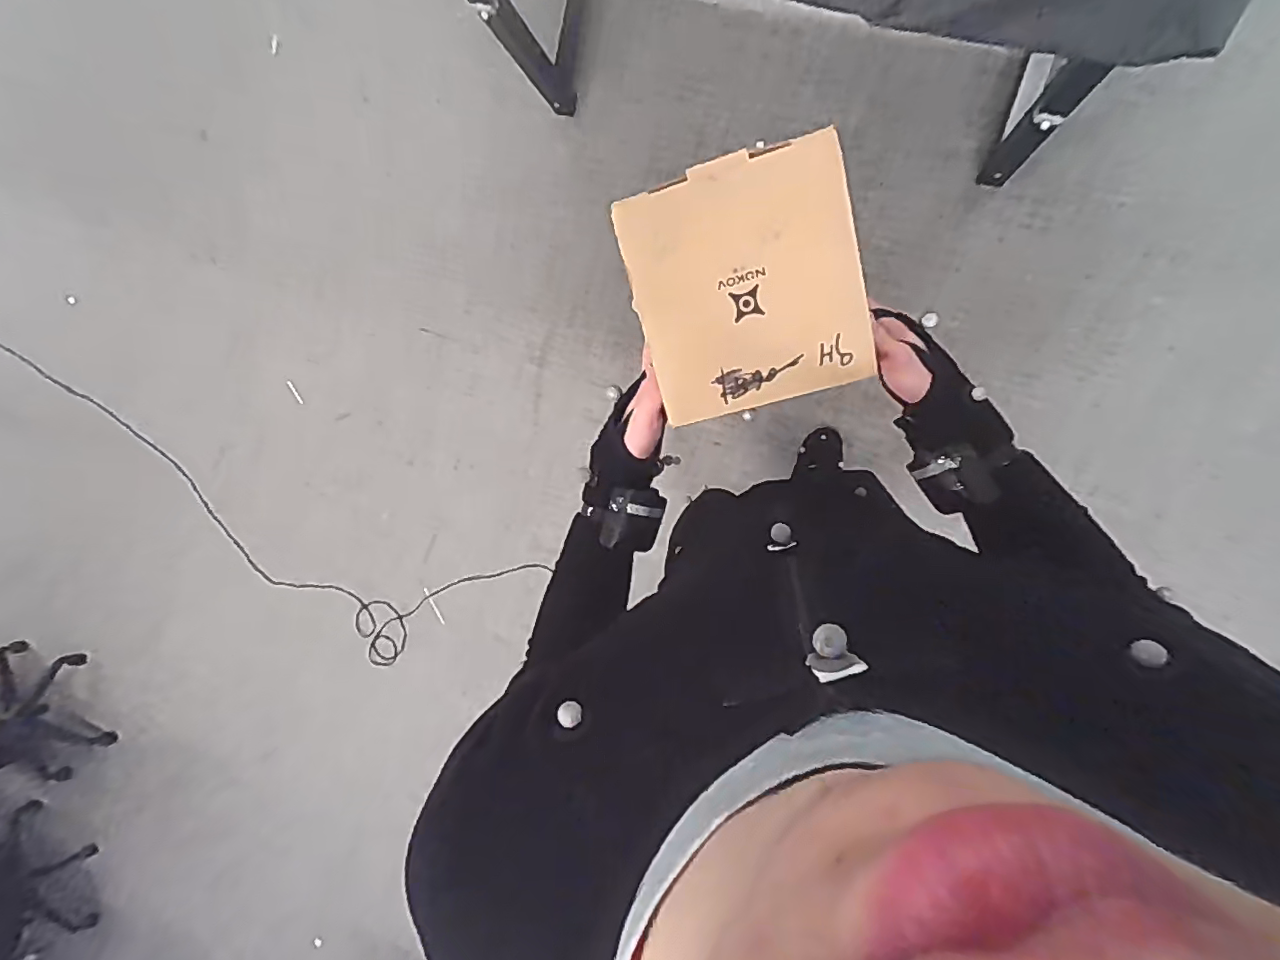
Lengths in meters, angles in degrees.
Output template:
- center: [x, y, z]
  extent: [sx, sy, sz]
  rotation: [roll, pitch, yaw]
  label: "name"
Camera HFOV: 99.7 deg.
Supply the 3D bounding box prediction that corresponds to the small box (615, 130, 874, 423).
- center: [0.090, -0.166, 0.481]
  extent: [0.168, 0.176, 0.179]
  rotation: [-13, 106, 13]
  label: "small box"
